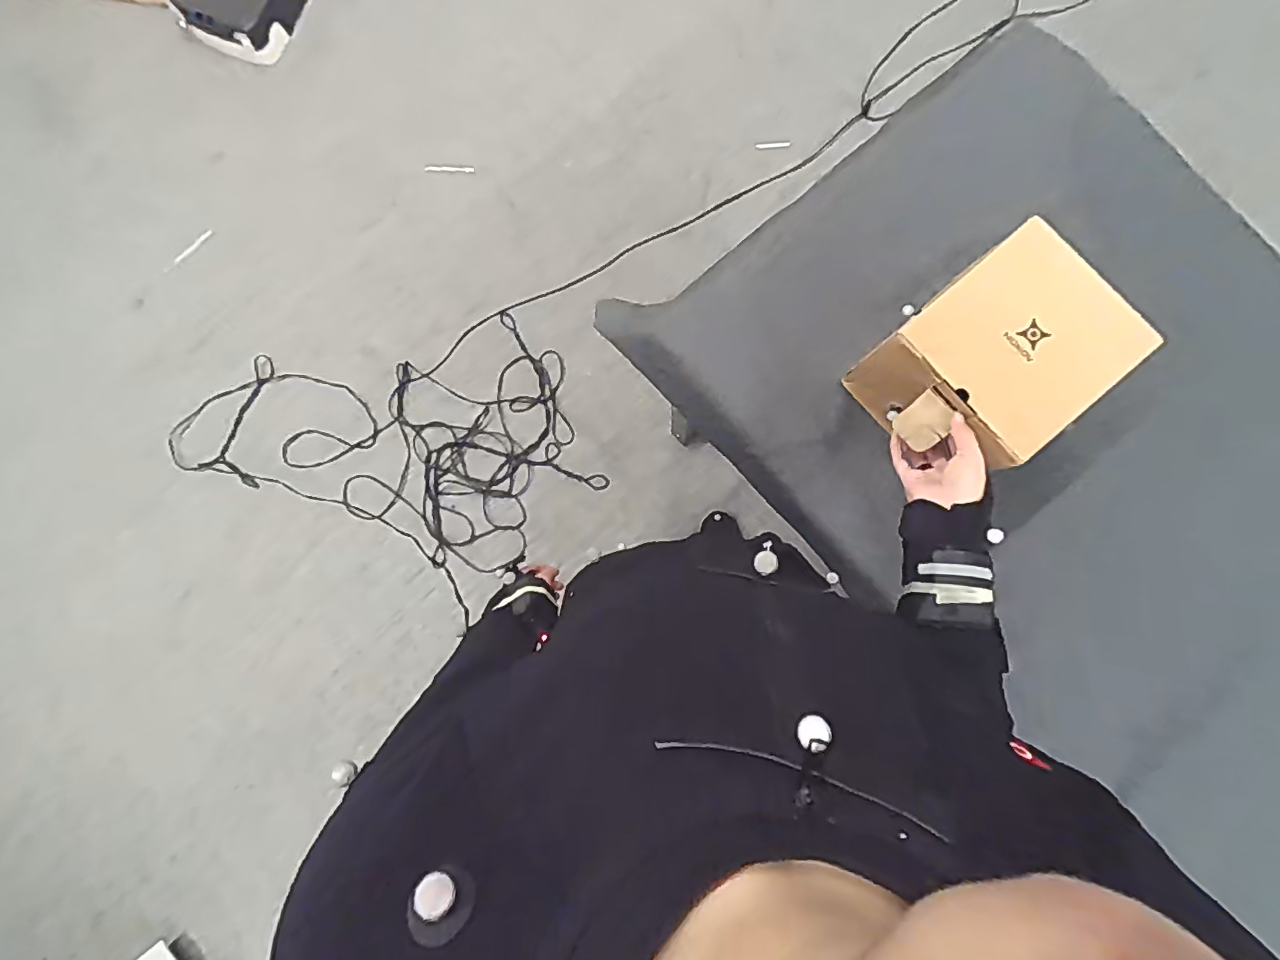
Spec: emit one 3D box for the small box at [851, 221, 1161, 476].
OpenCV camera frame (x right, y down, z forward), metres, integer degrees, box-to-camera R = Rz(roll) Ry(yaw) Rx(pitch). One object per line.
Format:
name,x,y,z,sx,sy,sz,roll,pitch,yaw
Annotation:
small box,0.363,-0.122,0.577,0.179,0.176,0.168,-41,85,-1
